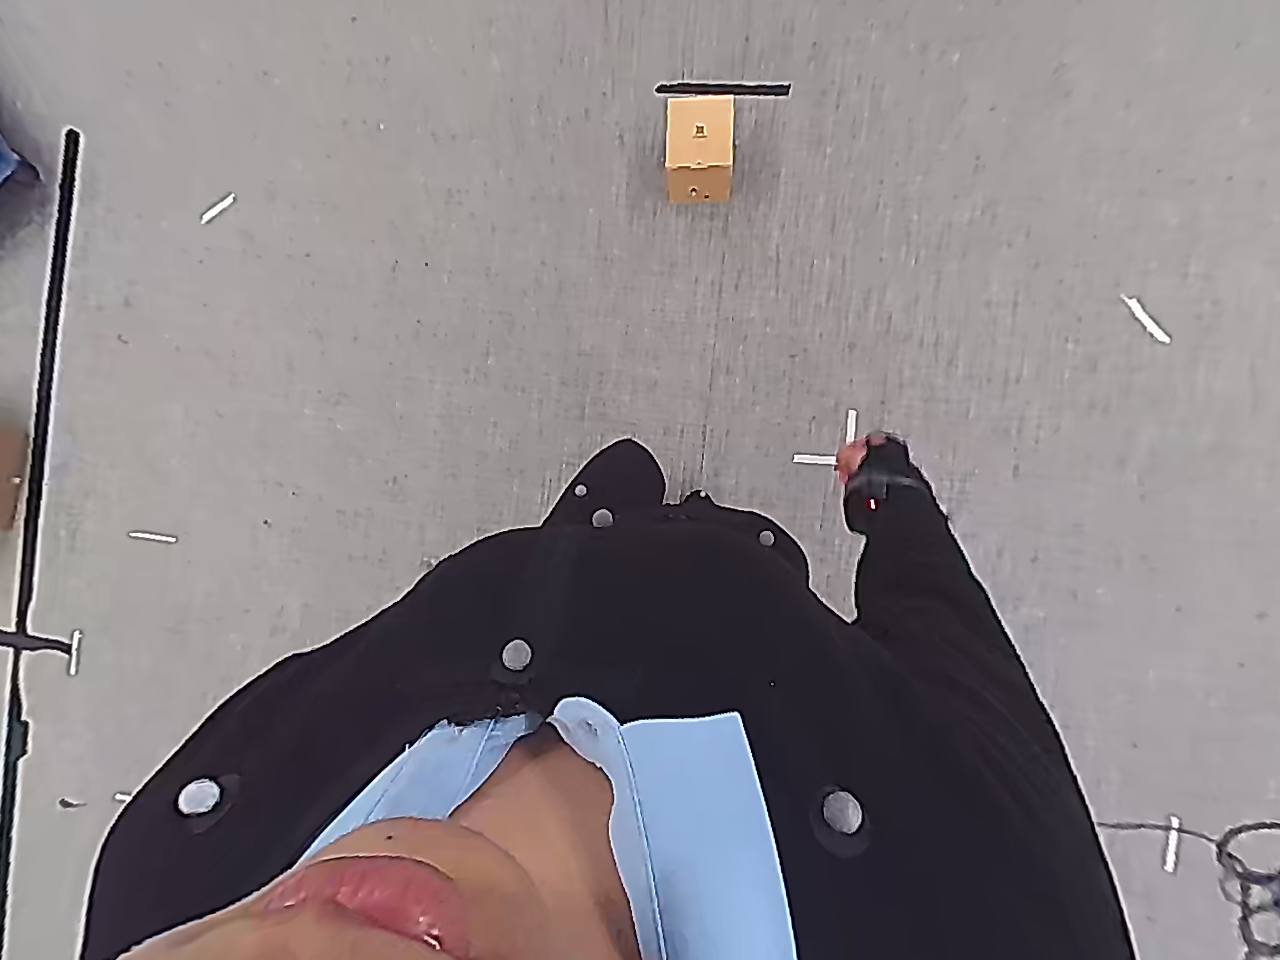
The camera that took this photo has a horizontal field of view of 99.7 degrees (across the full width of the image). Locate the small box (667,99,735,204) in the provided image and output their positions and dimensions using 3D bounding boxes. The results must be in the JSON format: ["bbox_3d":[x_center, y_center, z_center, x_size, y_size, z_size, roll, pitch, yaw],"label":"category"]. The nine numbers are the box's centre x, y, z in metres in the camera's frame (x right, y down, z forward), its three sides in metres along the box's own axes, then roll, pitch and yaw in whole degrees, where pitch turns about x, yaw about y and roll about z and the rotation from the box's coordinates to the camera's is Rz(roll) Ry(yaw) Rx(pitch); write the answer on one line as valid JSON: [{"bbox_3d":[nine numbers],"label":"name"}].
[{"bbox_3d":[0.156,-0.847,1.406,0.168,0.176,0.179,1,90,6],"label":"small box"}]
